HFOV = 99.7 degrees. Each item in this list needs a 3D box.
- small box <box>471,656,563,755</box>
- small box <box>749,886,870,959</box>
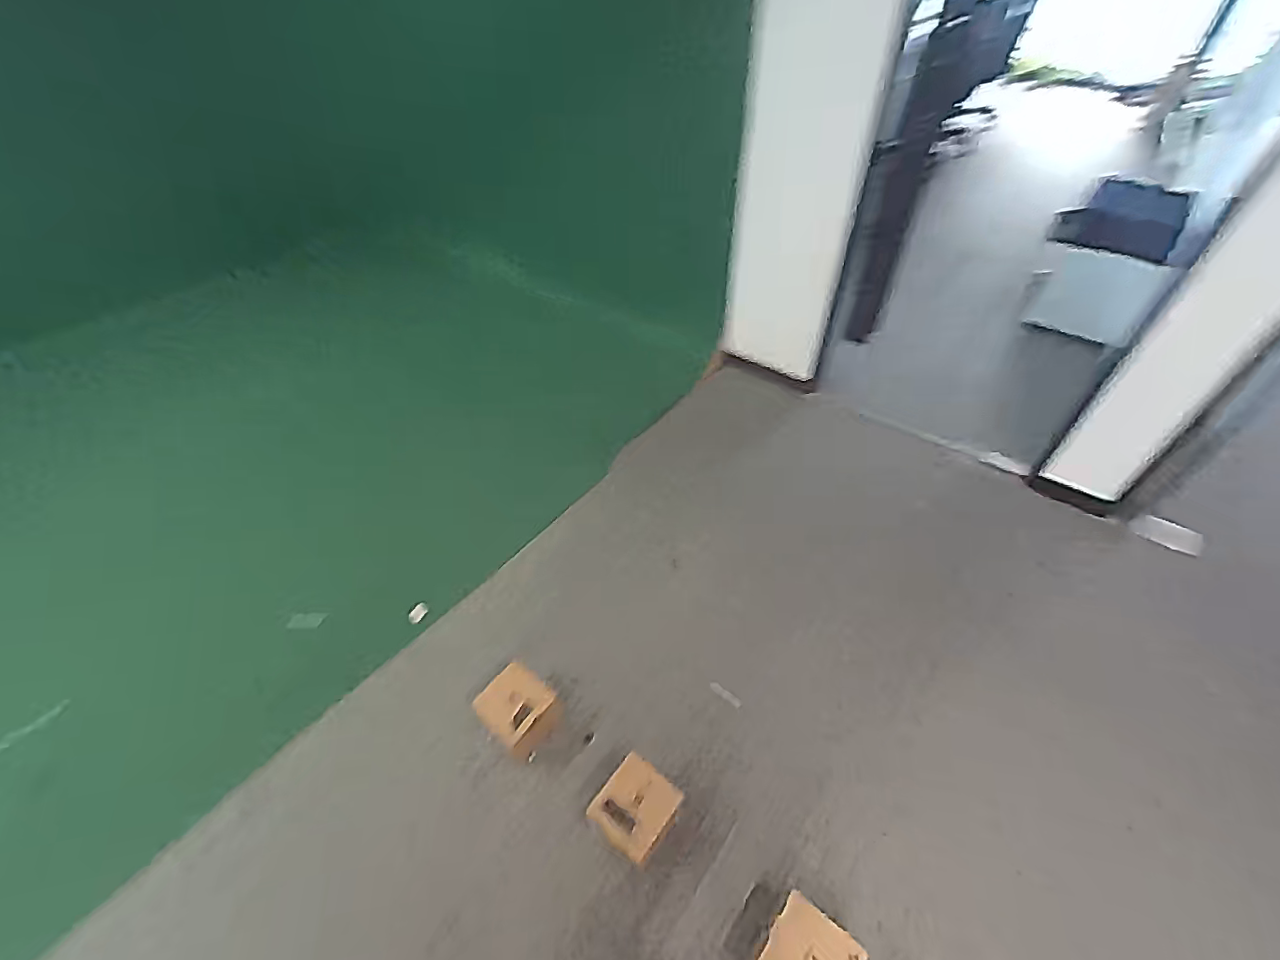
[{"bbox_3d":[-0.332,0.632,1.502,0.179,0.176,0.168,31,55,28],"label":"small box"},{"bbox_3d":[0.346,1.009,1.136,0.179,0.176,0.168,31,55,27],"label":"small box"}]
